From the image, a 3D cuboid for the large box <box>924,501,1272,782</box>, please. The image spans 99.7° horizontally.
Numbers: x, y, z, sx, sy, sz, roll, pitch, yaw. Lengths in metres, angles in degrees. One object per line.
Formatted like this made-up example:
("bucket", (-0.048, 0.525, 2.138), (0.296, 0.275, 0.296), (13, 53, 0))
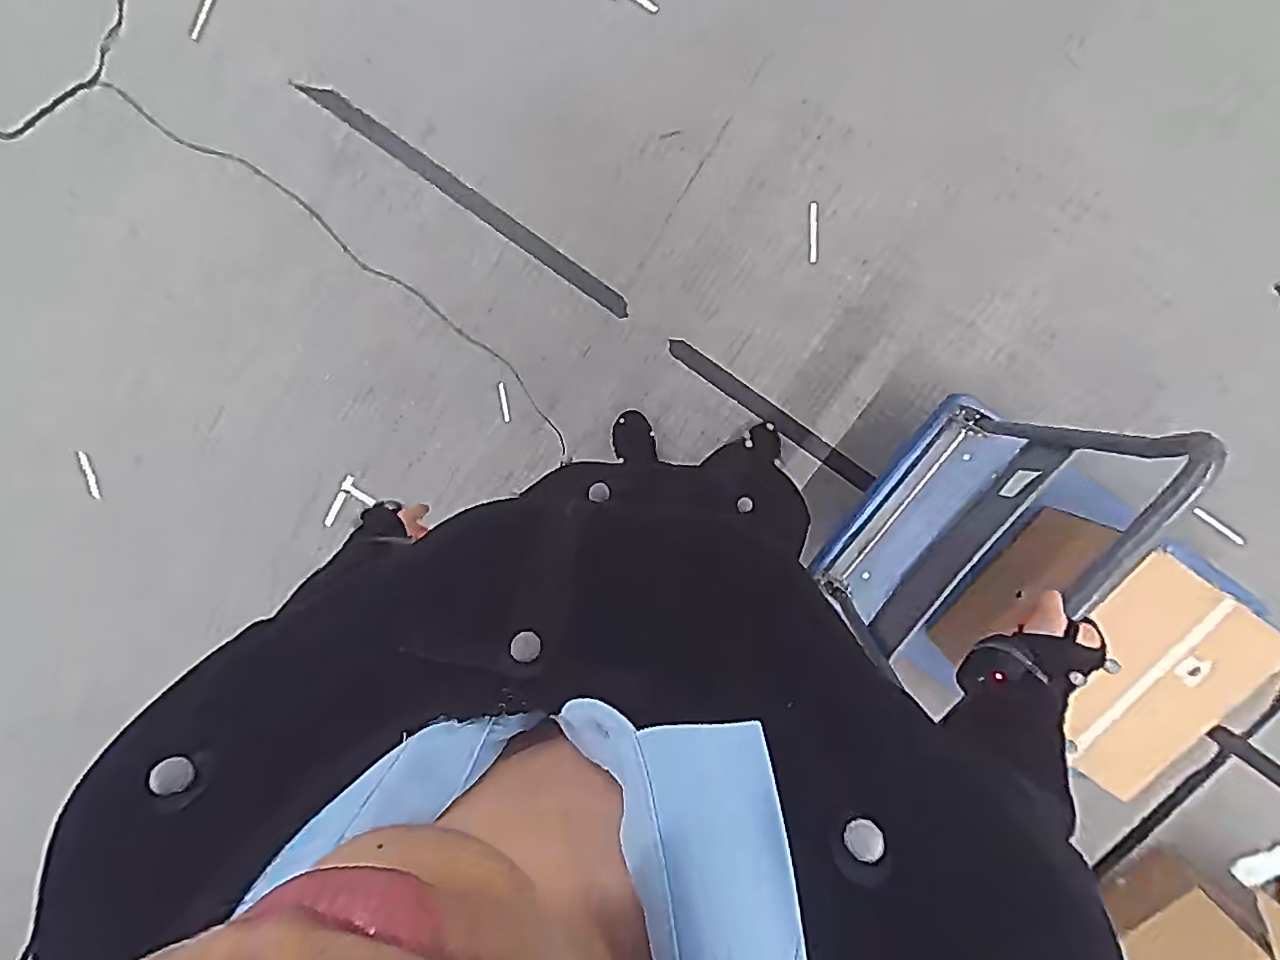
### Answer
("large box", (0.906, 0.312, 1.140), (0.320, 0.320, 0.408), (35, 101, -2))
